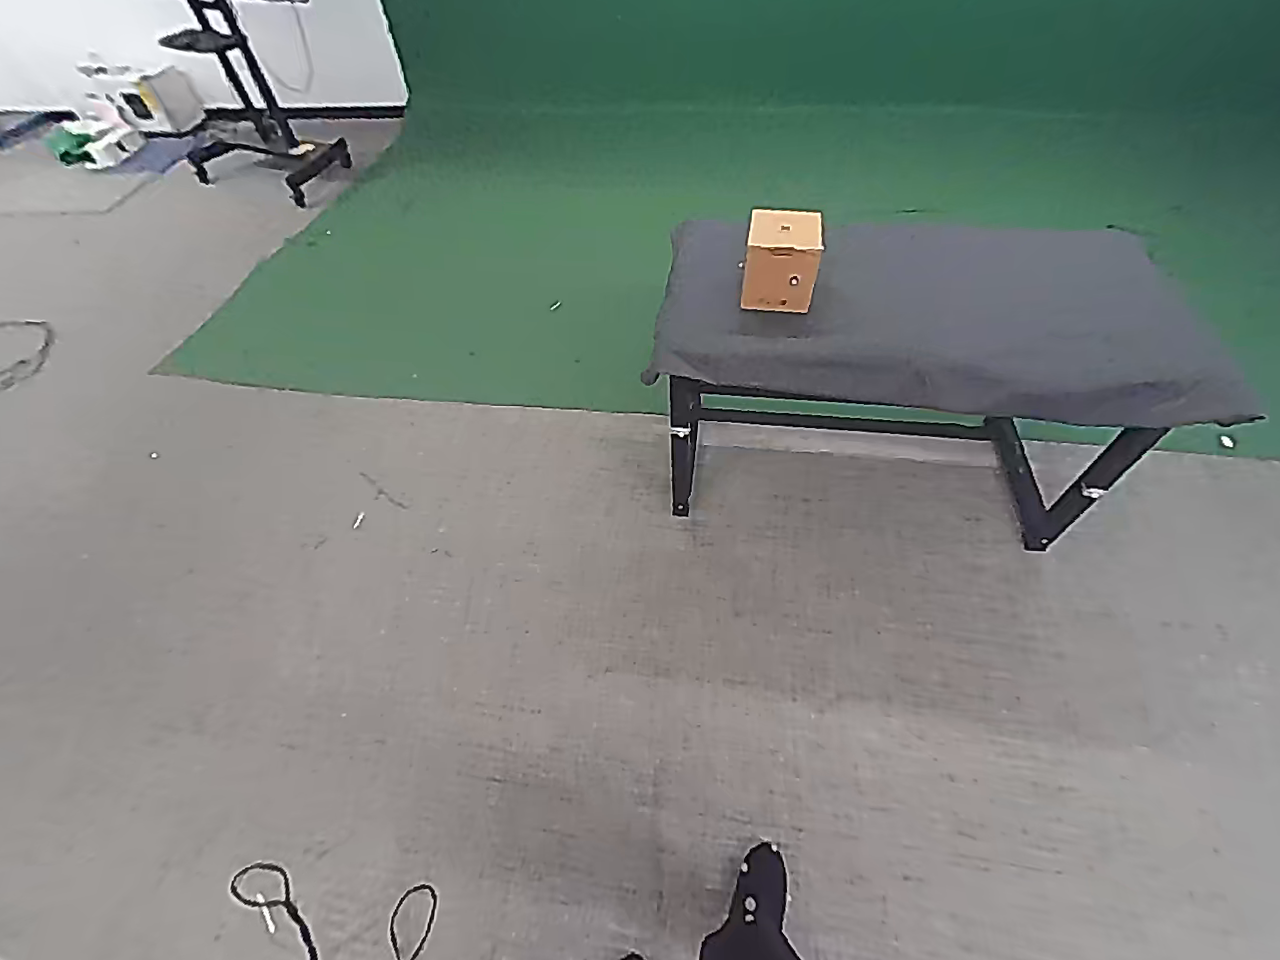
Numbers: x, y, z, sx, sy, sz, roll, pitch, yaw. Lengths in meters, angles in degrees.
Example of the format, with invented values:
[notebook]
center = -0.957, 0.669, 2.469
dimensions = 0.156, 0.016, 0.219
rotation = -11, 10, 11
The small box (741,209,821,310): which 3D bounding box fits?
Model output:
[small box]
center = 0.344, -0.539, 1.329
dimensions = 0.168, 0.176, 0.179
rotation = 8, 53, 7
